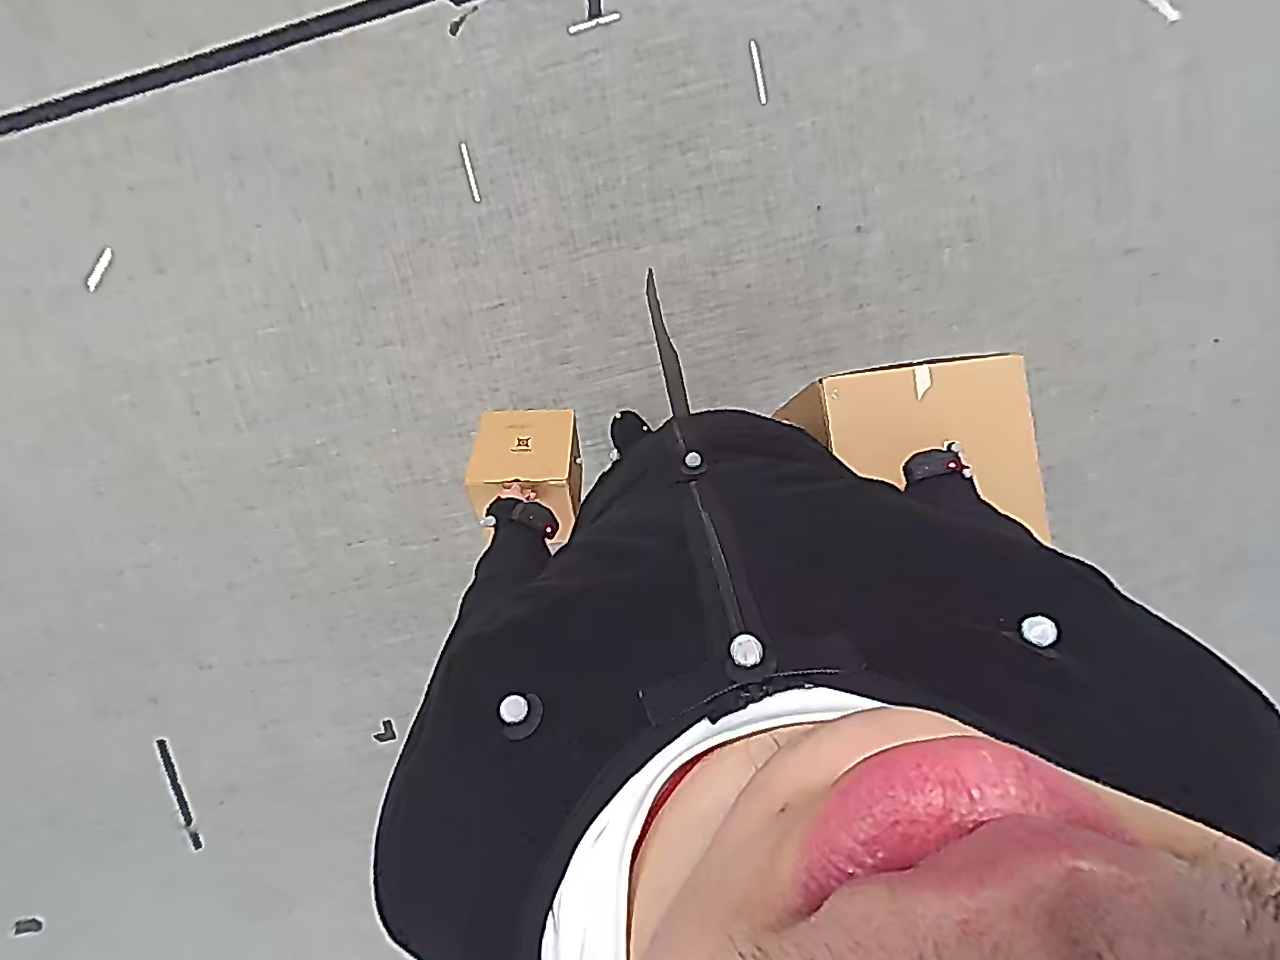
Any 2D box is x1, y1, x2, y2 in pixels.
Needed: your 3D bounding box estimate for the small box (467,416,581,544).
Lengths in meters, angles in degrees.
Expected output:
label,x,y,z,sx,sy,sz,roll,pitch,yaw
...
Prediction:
label,x,y,z,sx,sy,sz,roll,pitch,yaw
small box,-0.197,0.004,0.977,0.168,0.179,0.176,-1,136,-1
